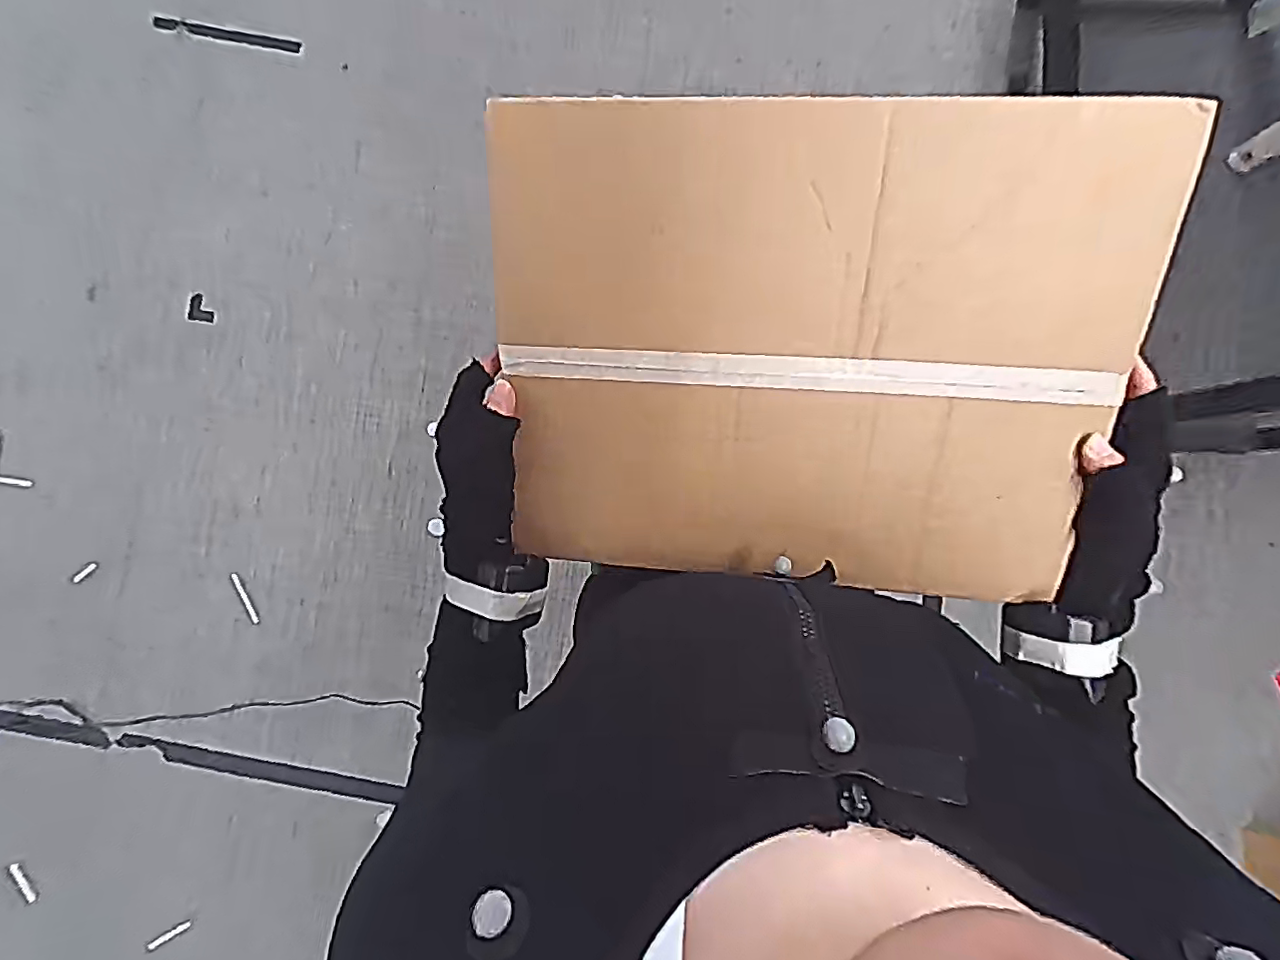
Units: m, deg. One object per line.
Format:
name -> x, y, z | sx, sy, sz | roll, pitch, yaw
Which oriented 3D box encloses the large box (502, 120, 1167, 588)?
large box -> 0.120, -0.120, 0.518 | 0.408, 0.320, 0.320 | 4, 111, 6
